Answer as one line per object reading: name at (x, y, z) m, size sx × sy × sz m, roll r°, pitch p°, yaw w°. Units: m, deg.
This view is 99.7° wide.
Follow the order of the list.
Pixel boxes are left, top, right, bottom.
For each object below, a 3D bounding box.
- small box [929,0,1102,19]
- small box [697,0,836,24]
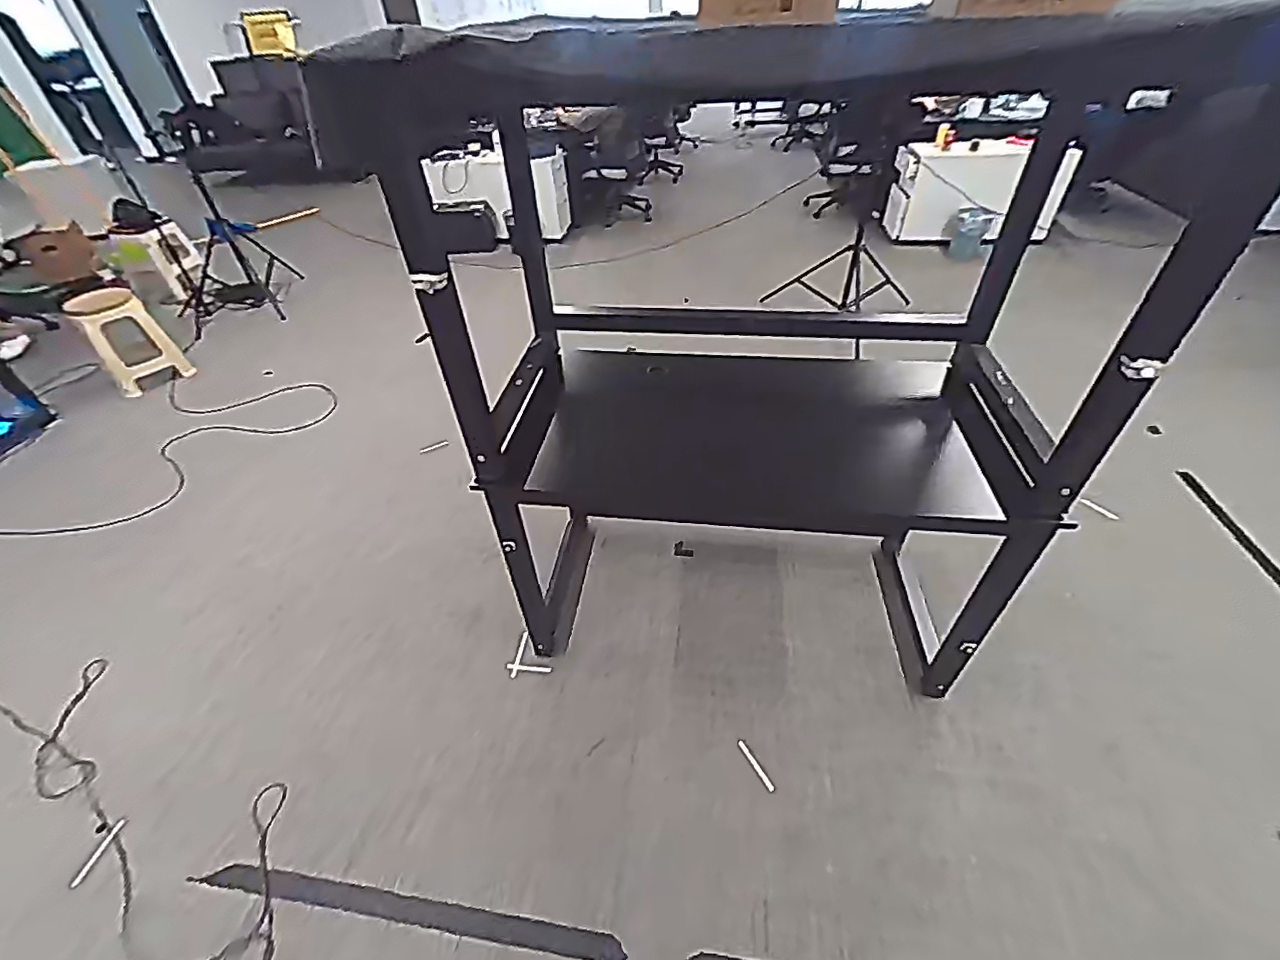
small box at (0.454, -0.645, 0.617) m, size 0.168 × 0.176 × 0.179 m, roll 6°, pitch 41°, yaw 10°
small box at (0.157, -0.661, 0.650) m, size 0.168 × 0.176 × 0.179 m, roll 4°, pitch 40°, yaw 8°
